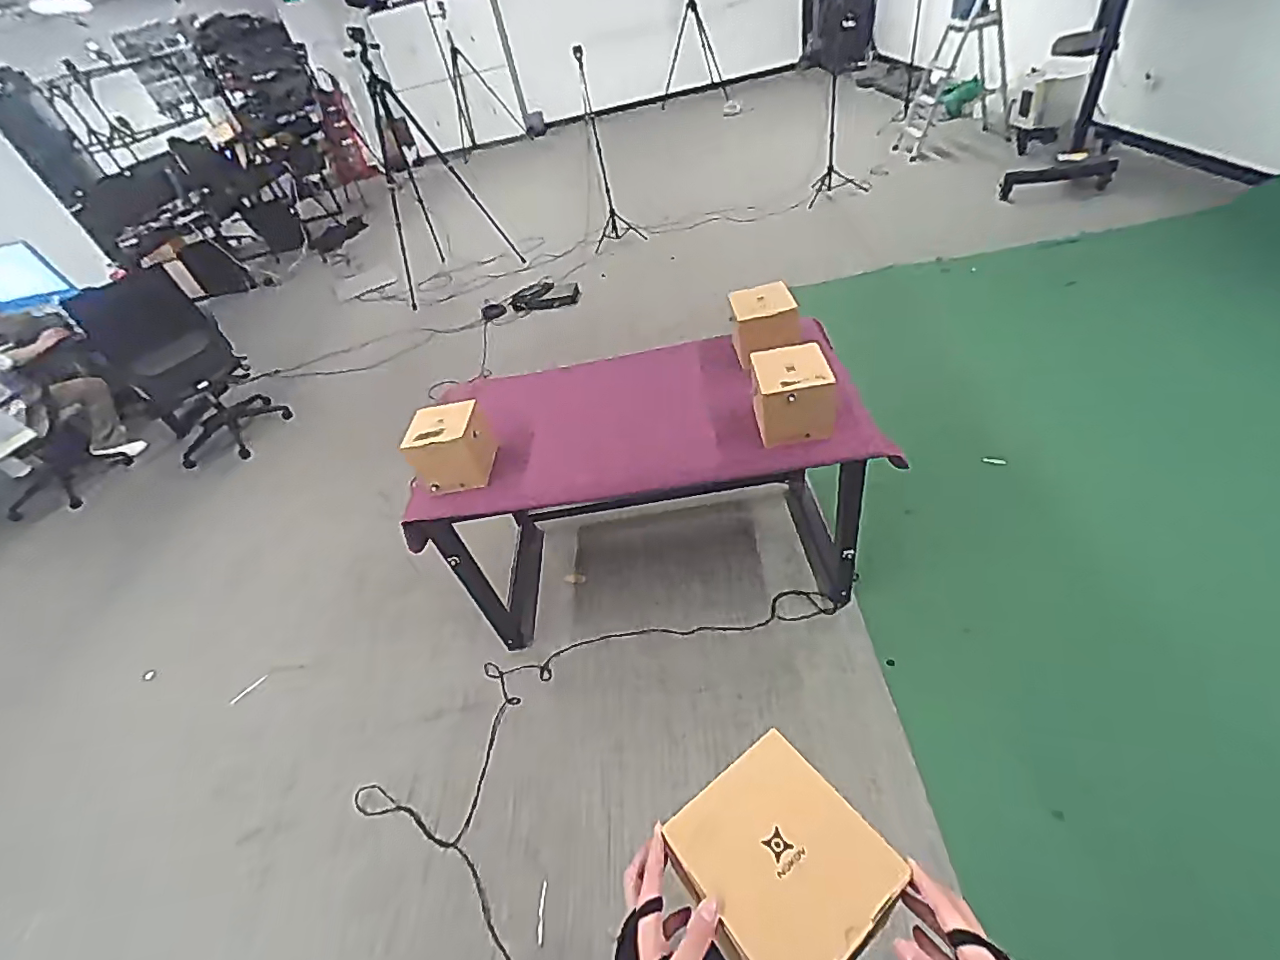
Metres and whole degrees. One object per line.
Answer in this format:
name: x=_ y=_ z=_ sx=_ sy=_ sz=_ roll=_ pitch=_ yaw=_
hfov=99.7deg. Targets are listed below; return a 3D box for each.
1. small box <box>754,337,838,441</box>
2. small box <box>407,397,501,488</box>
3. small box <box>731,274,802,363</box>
small box: x=0.376 y=-0.220 z=1.320 sx=0.168 sy=0.176 sz=0.179 roll=-10 pitch=44 yaw=9
small box: x=-0.490 y=-0.094 z=1.456 sx=0.168 sy=0.176 sz=0.179 roll=-9 pitch=42 yaw=7
small box: x=0.368 y=-0.468 z=1.574 sx=0.168 sy=0.176 sz=0.179 roll=-12 pitch=44 yaw=8
